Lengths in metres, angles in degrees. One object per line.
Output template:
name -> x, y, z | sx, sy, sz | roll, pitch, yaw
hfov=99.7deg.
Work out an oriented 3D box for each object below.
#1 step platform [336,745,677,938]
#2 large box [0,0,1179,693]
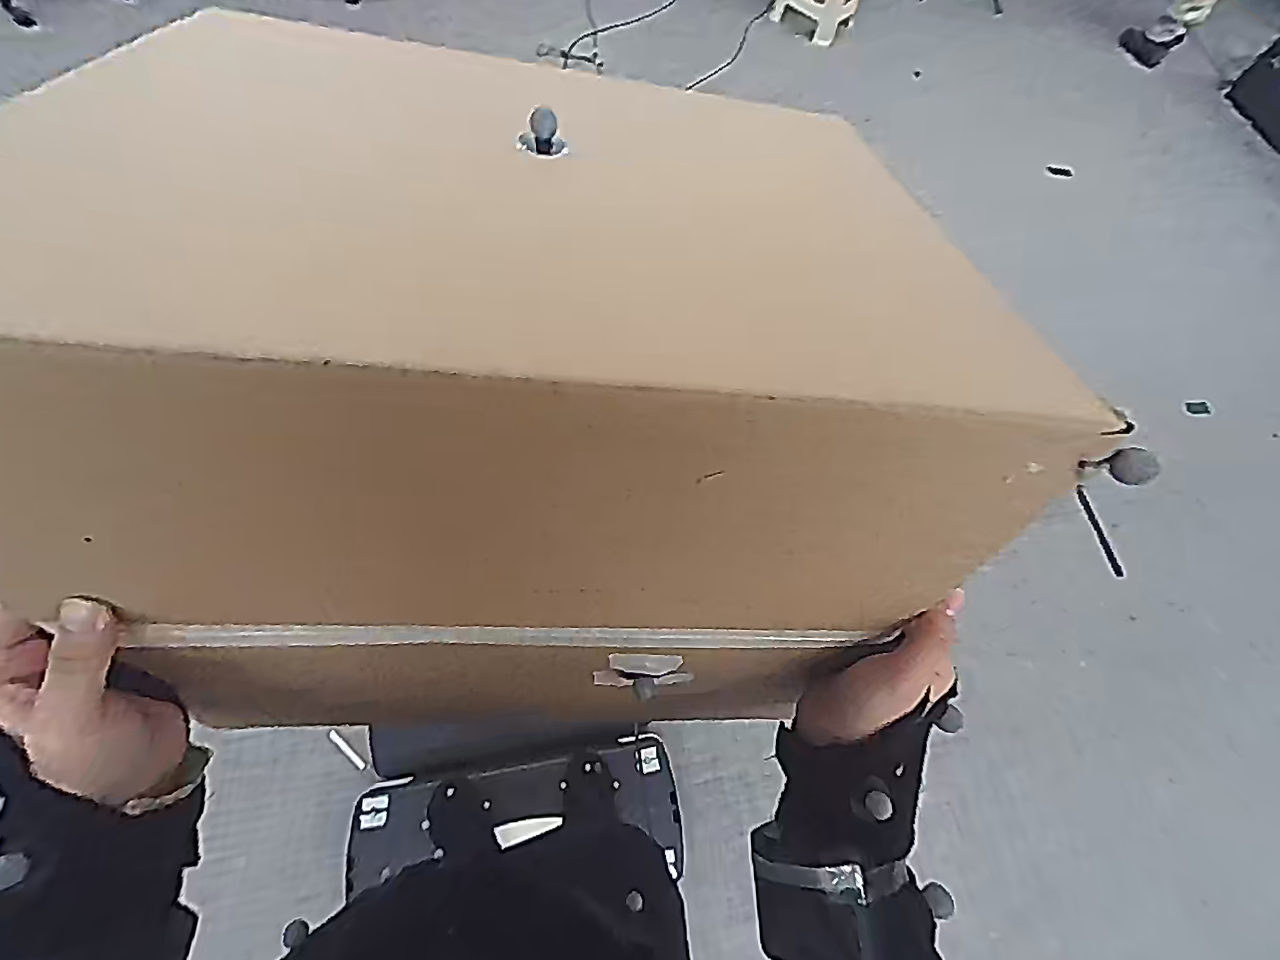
step platform -> -0.261, 0.751, 1.159 | 0.684, 0.204, 0.286 | -1, 67, -7
large box -> -0.053, -0.071, 0.352 | 0.408, 0.320, 0.320 | 2, 51, -9
